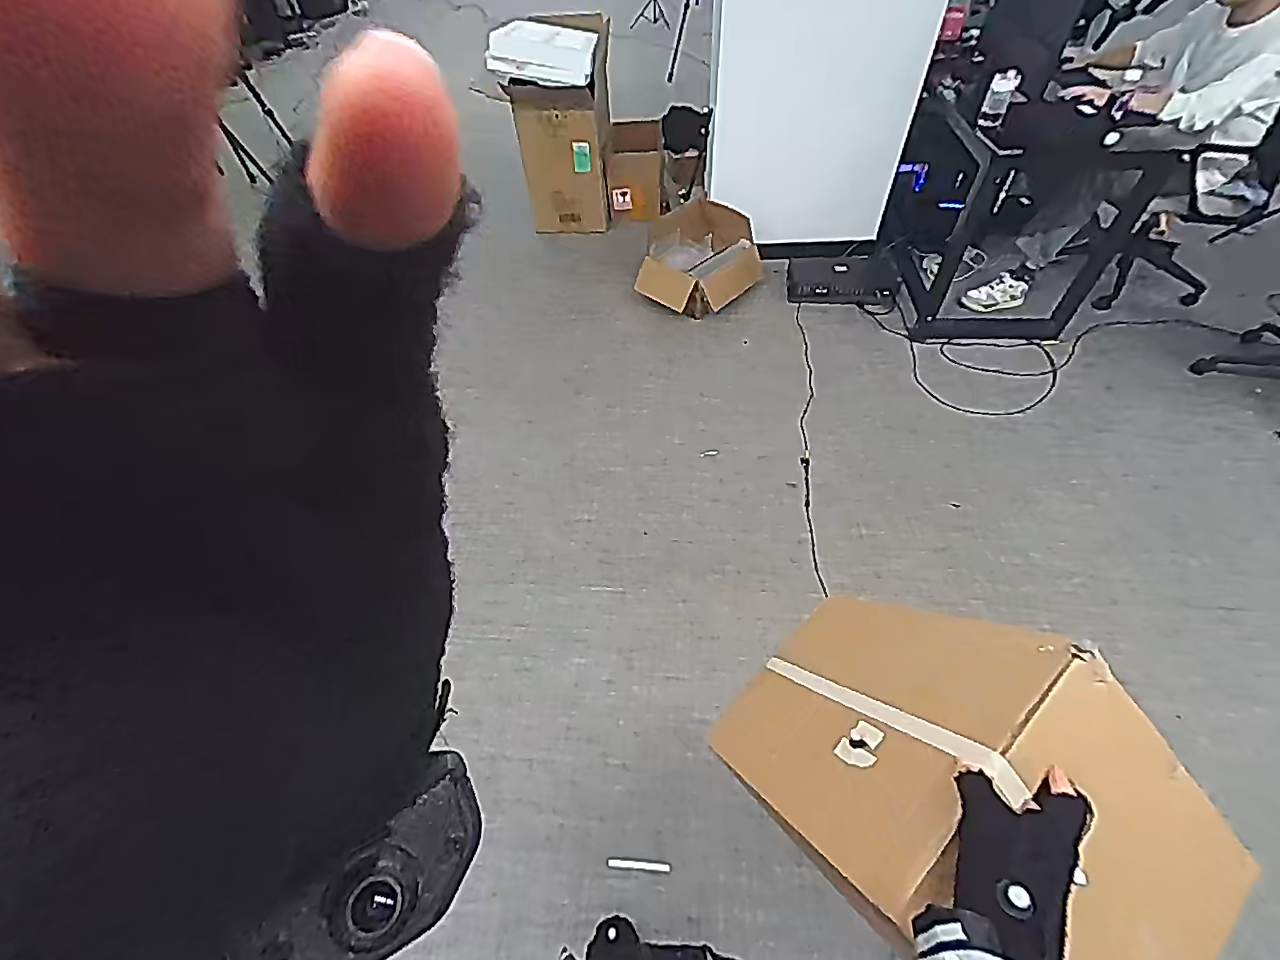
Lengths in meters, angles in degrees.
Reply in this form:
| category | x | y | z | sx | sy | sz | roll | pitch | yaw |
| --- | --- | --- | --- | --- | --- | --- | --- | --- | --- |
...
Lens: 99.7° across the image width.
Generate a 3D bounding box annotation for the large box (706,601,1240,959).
| category | x | y | z | sx | sy | sz | roll | pitch | yaw |
| --- | --- | --- | --- | --- | --- | --- | --- | --- | --- |
| large box | 0.354 | 0.392 | 0.677 | 0.320 | 0.408 | 0.320 | -41 | 97 | -15 |
